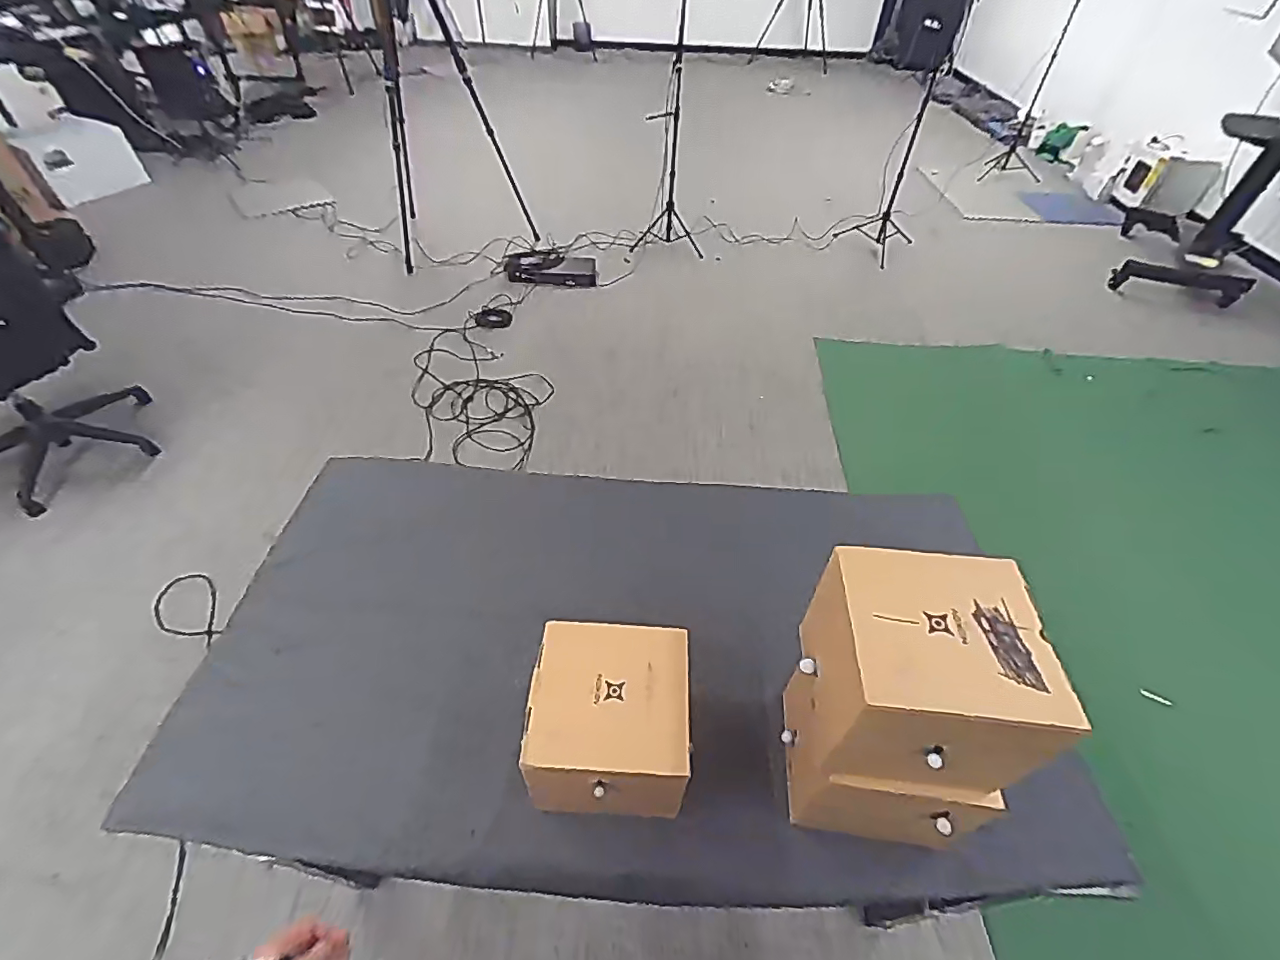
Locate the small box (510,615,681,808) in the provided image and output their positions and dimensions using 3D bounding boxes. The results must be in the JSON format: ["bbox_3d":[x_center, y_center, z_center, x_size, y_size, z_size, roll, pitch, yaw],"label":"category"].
[{"bbox_3d":[-0.045,0.282,0.655,0.179,0.176,0.168,4,47,-1],"label":"small box"}]

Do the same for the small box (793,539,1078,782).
[{"bbox_3d":[0.263,0.182,0.536,0.179,0.176,0.168,5,46,4],"label":"small box"}]

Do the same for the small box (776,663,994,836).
[{"bbox_3d":[0.270,0.304,0.645,0.179,0.176,0.168,7,45,4],"label":"small box"}]
